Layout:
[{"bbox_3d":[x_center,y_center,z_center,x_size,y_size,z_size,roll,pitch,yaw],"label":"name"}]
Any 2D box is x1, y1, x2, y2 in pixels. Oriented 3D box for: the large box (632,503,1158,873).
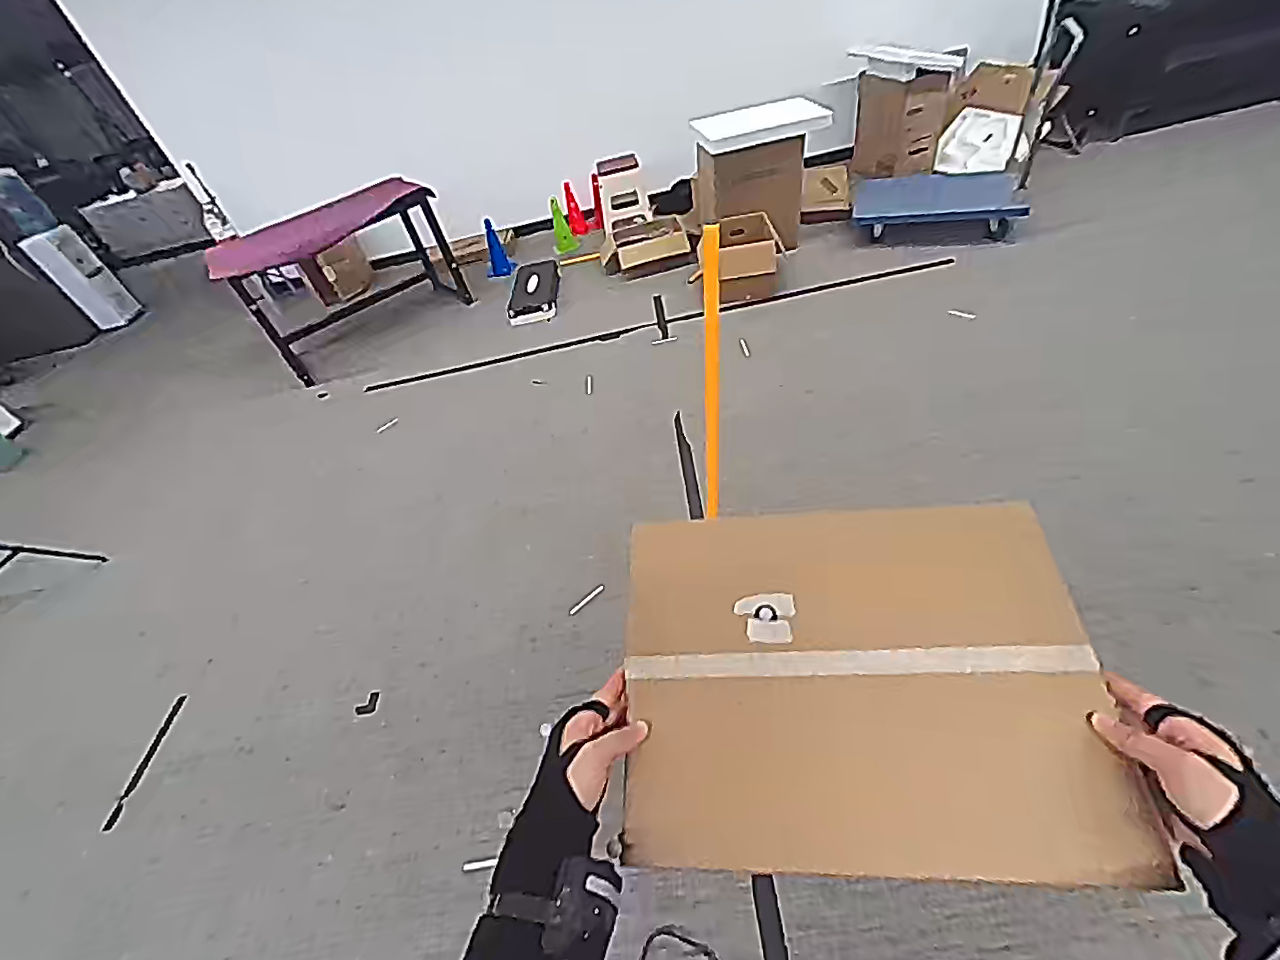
[{"bbox_3d":[0.217,0.249,0.628,0.408,0.320,0.320,-5,57,9],"label":"large box"}]
